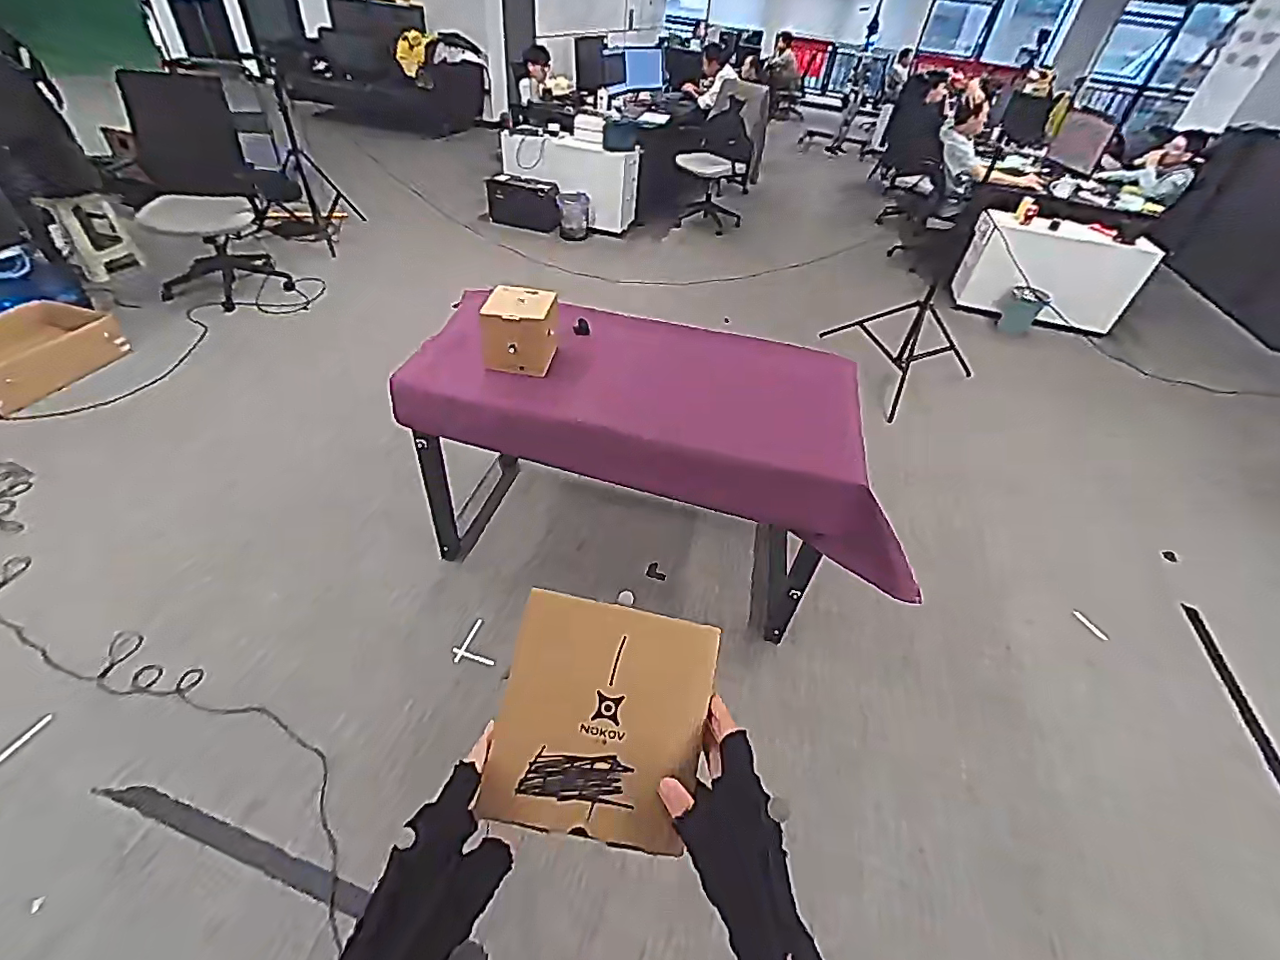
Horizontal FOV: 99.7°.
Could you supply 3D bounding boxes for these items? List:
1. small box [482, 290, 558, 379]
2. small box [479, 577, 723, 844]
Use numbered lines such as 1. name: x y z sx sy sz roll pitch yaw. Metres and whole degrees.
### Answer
1. small box: -0.318 -0.396 1.475 0.168 0.176 0.179 8 42 0
2. small box: -0.034 0.200 0.513 0.168 0.176 0.179 14 76 -3
